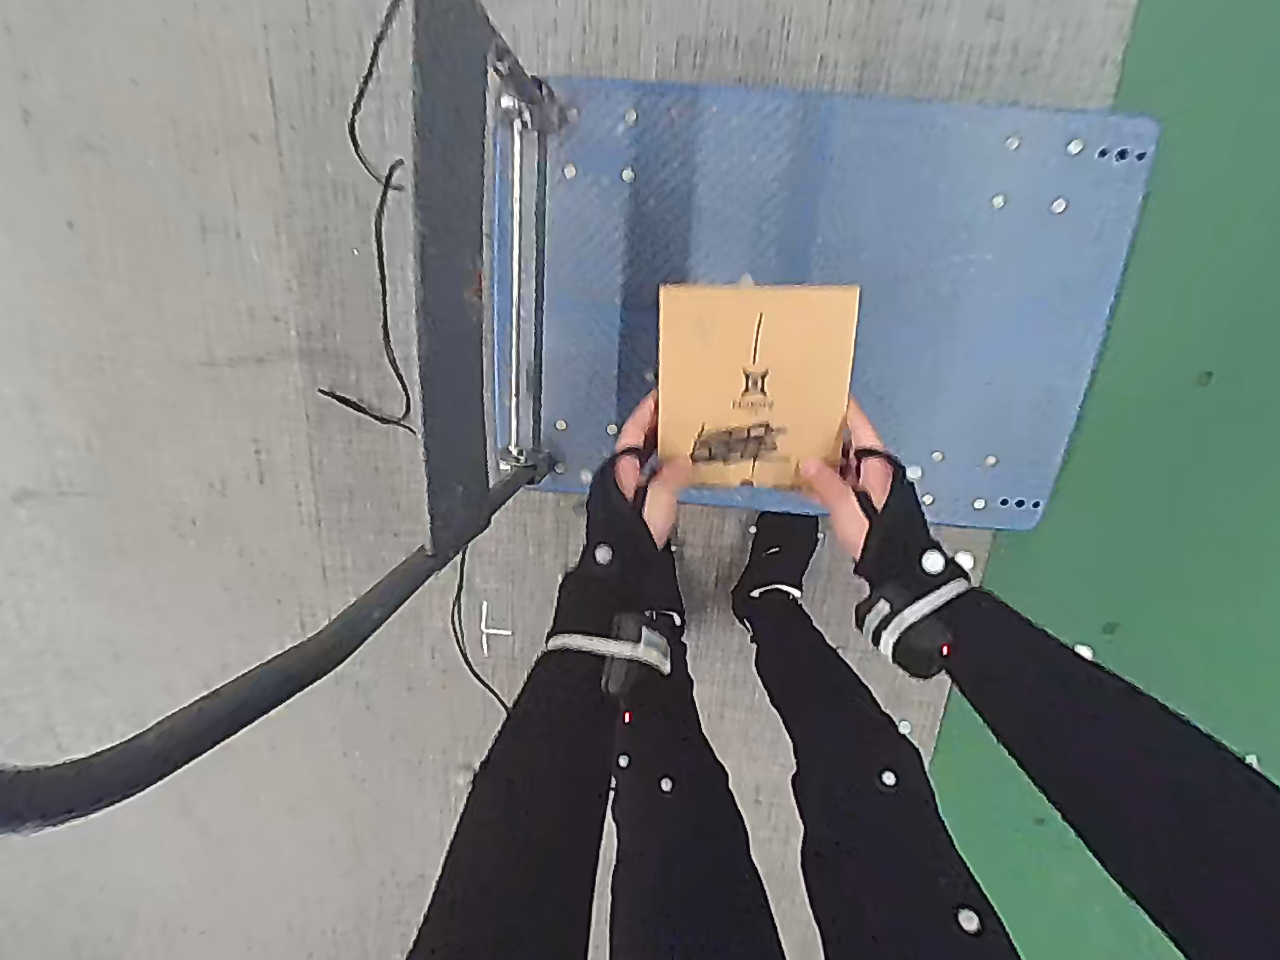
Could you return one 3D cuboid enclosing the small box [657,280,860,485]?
[{"bbox_3d":[0.102,-0.103,0.546,0.168,0.176,0.179,1,106,1],"label":"small box"}]
